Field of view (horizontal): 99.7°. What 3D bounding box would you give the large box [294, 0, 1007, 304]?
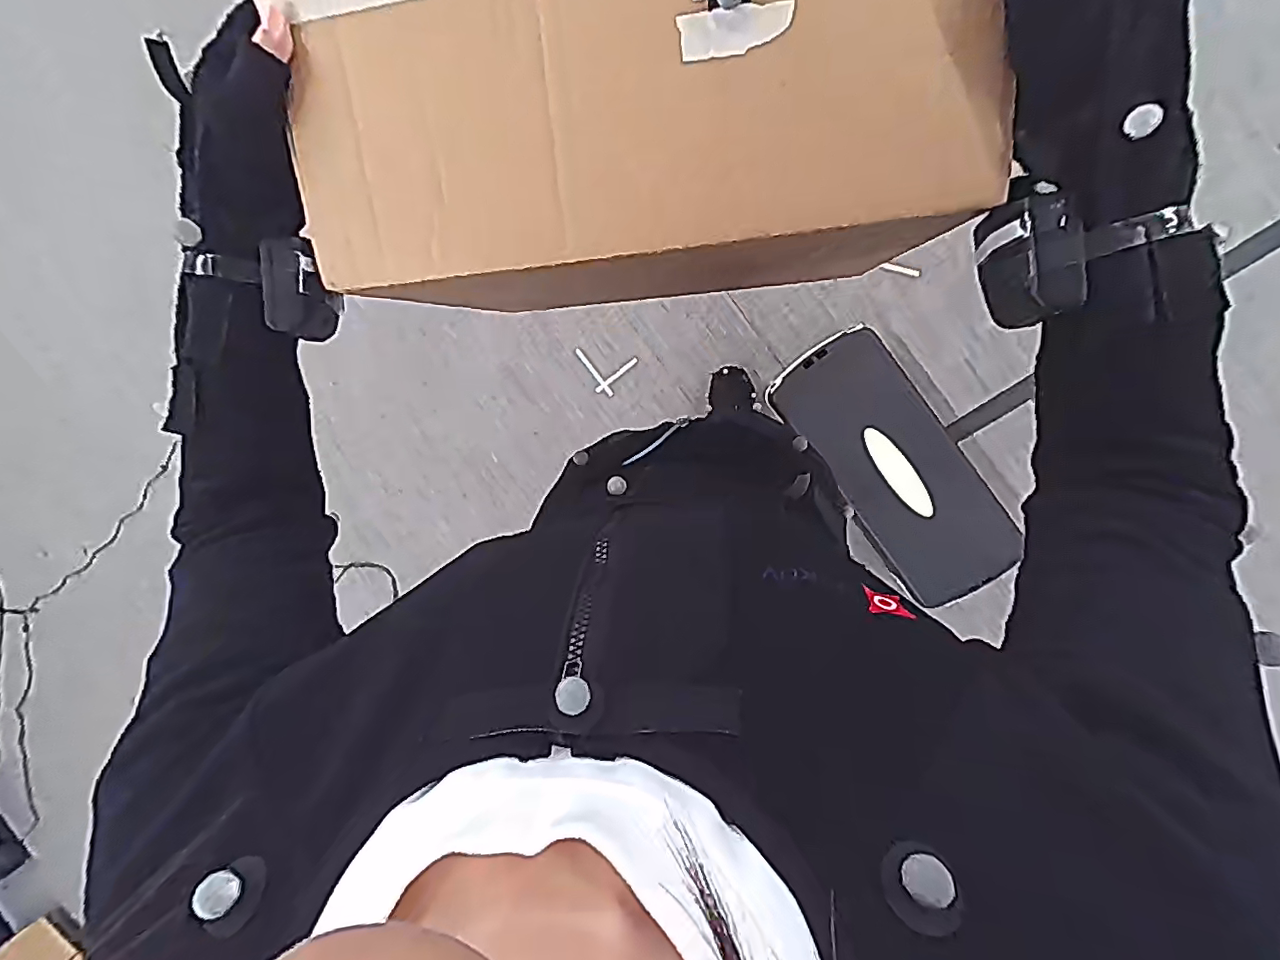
[{"bbox_3d":[0.006,-0.334,0.435,0.408,0.320,0.320,-4,105,9],"label":"large box"}]
